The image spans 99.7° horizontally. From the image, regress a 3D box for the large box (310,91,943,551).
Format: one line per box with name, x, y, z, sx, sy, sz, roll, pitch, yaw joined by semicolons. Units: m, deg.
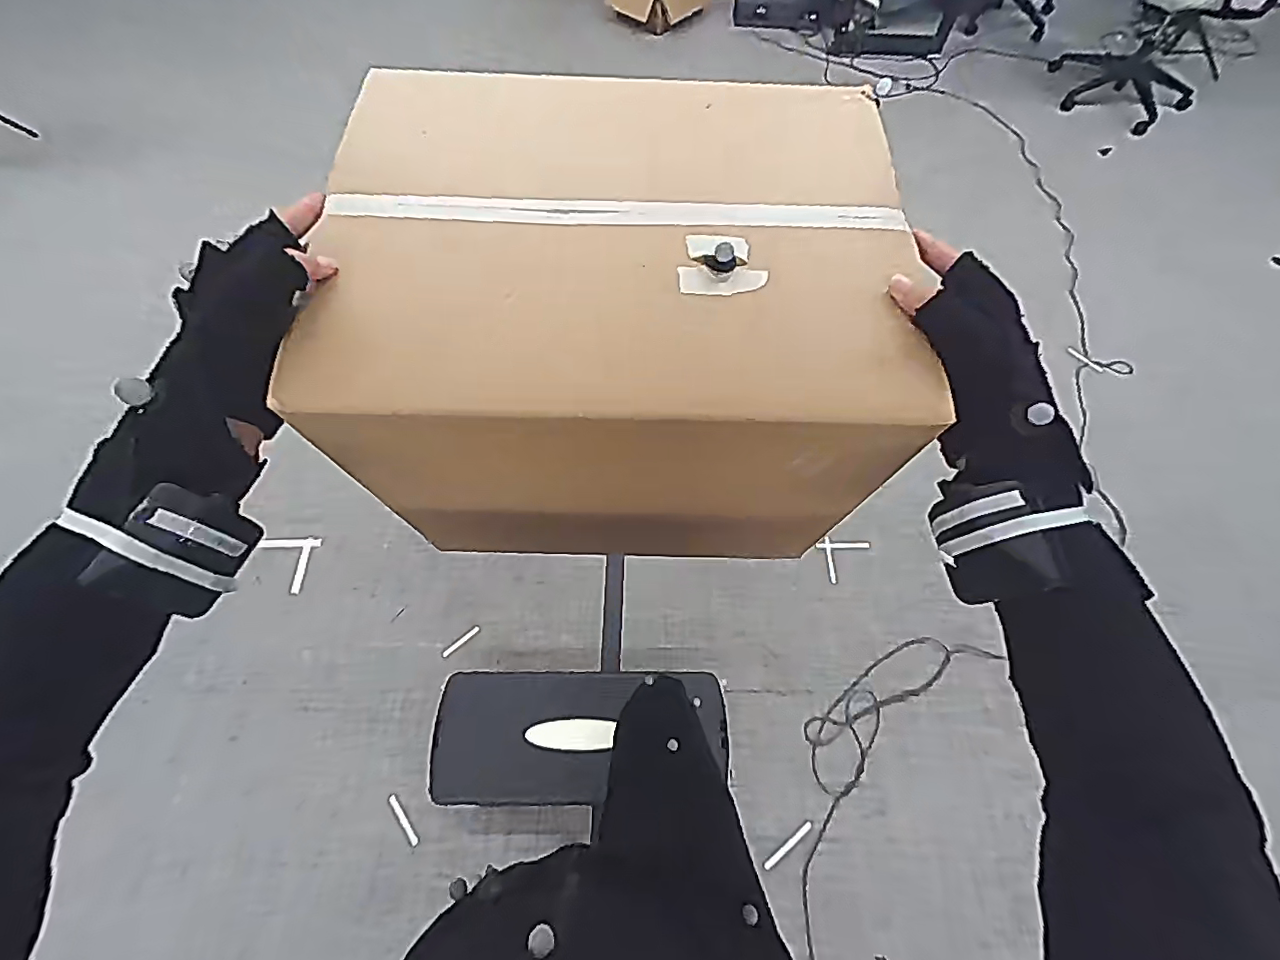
large box;-0.012;-0.120;0.529;0.408;0.320;0.320;1;67;-2
